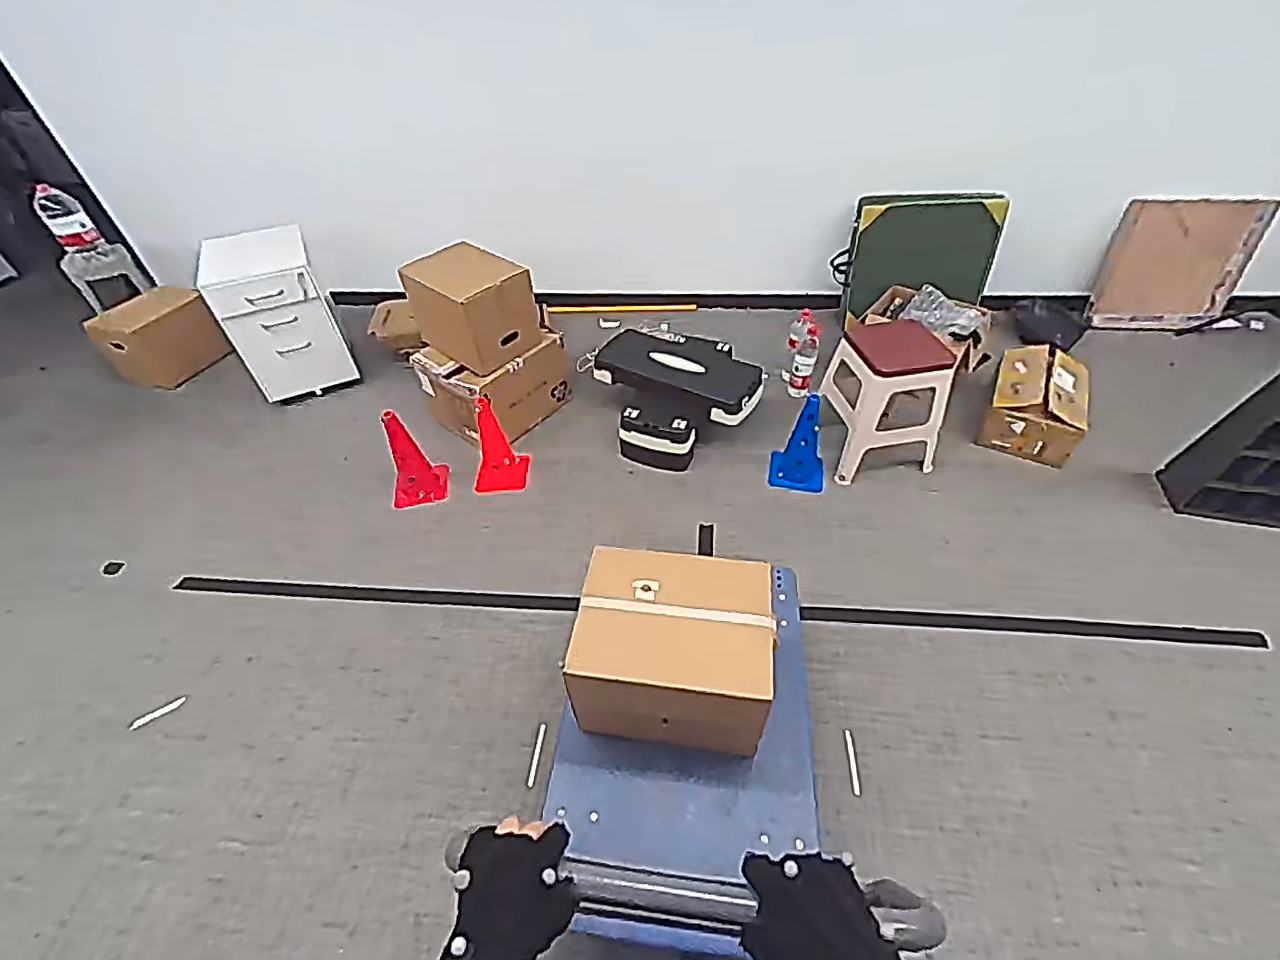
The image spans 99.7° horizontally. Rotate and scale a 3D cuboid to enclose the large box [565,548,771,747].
[{"bbox_3d":[0.077,0.383,1.237,0.408,0.320,0.320,4,46,8],"label":"large box"}]
